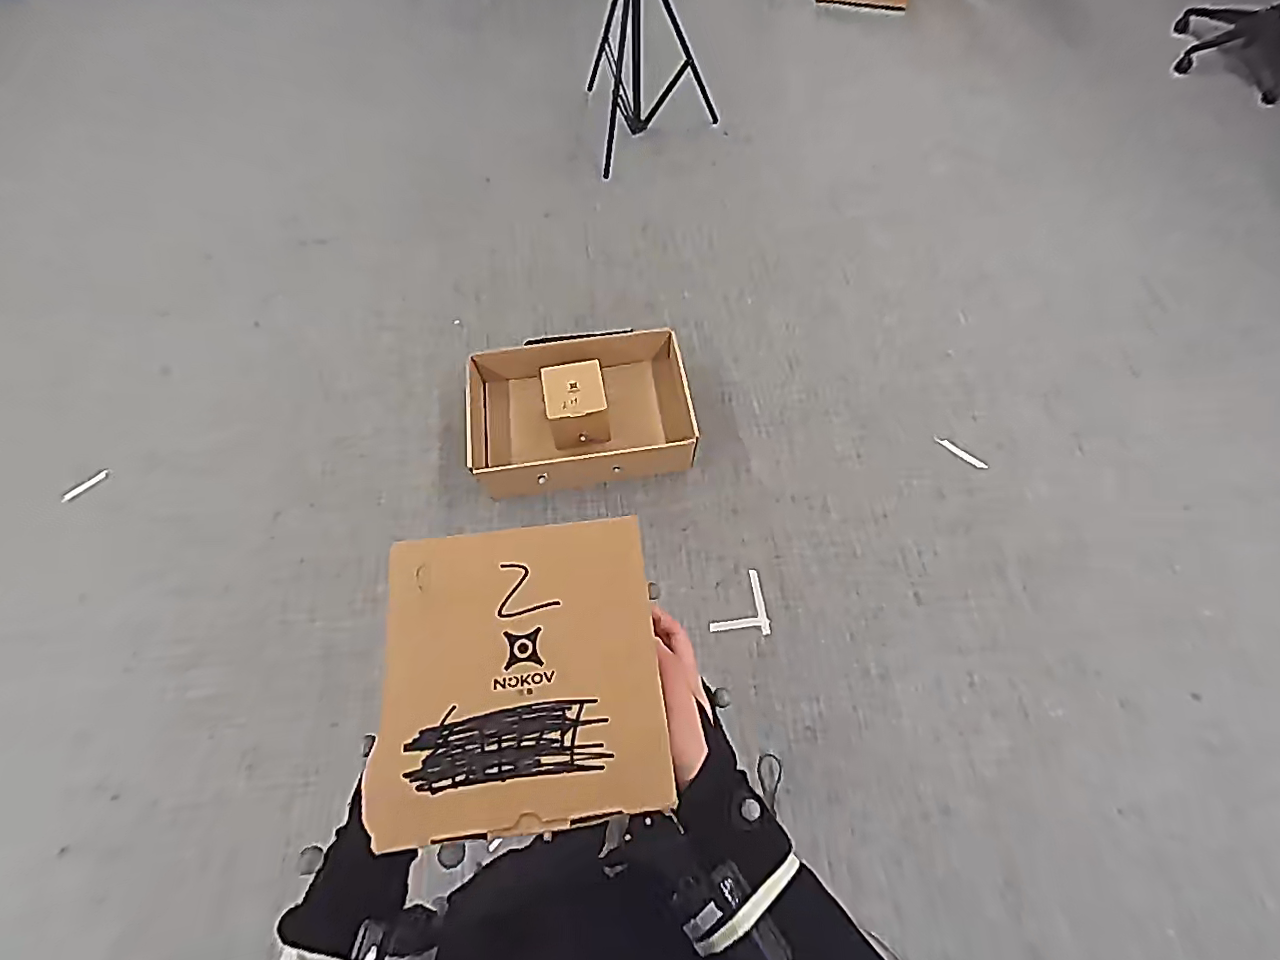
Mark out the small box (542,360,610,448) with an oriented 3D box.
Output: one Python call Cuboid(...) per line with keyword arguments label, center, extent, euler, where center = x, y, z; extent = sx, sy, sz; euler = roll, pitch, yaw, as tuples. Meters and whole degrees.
Cuboid(label="small box", center=(-0.183, -0.216, 1.557), extent=(0.168, 0.176, 0.179), euler=(-10, 65, -4))
